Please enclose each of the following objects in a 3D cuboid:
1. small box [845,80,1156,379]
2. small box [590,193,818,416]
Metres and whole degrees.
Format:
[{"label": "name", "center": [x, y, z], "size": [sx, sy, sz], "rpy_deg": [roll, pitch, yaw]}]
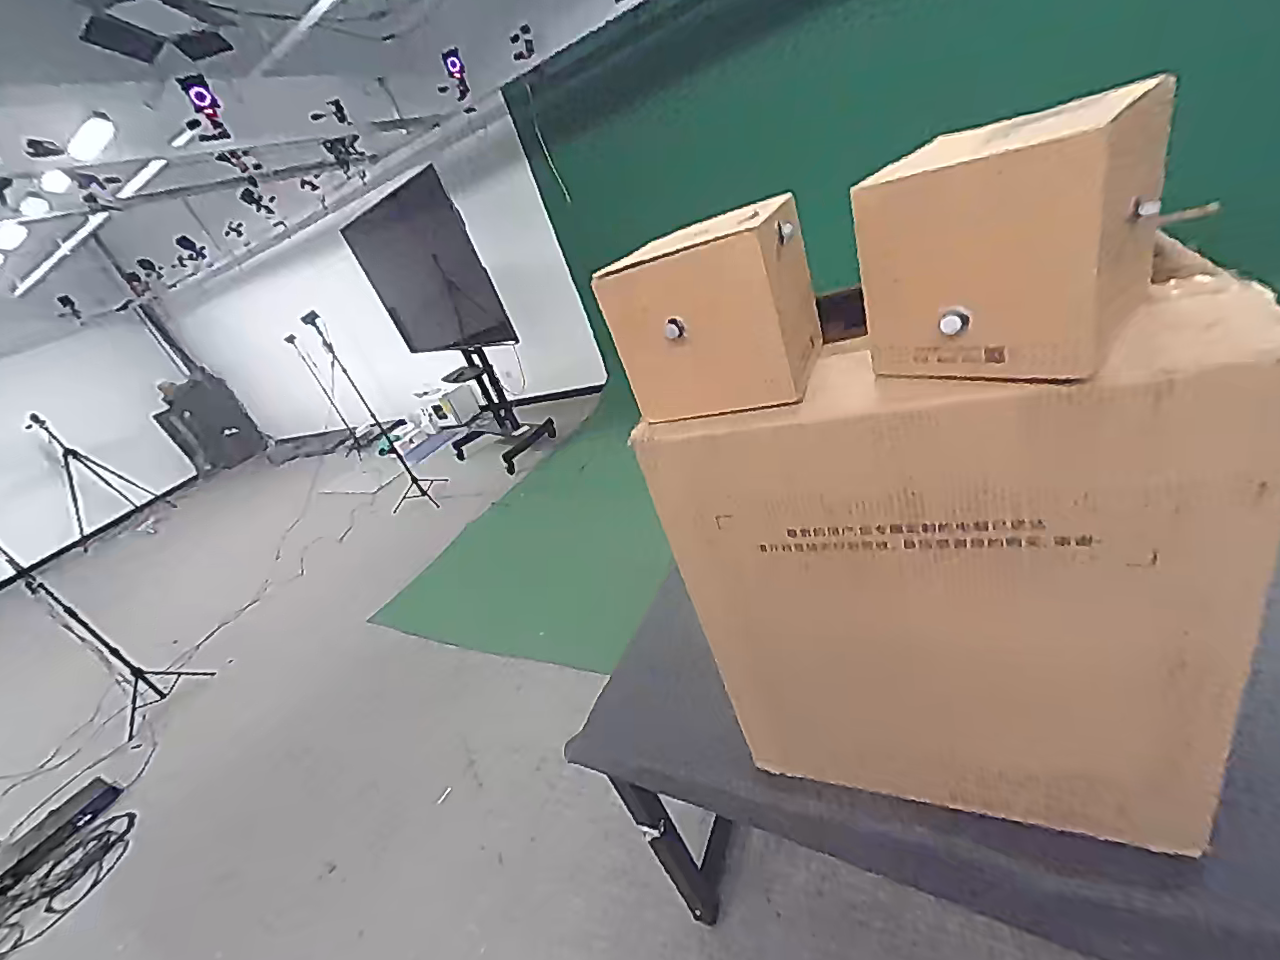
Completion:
[{"label": "small box", "center": [0.303, -0.202, 0.464], "size": [0.179, 0.176, 0.168], "rpy_deg": [-38, 32, -28]}, {"label": "small box", "center": [0.080, -0.185, 0.596], "size": [0.179, 0.176, 0.168], "rpy_deg": [-6, 32, 31]}]
